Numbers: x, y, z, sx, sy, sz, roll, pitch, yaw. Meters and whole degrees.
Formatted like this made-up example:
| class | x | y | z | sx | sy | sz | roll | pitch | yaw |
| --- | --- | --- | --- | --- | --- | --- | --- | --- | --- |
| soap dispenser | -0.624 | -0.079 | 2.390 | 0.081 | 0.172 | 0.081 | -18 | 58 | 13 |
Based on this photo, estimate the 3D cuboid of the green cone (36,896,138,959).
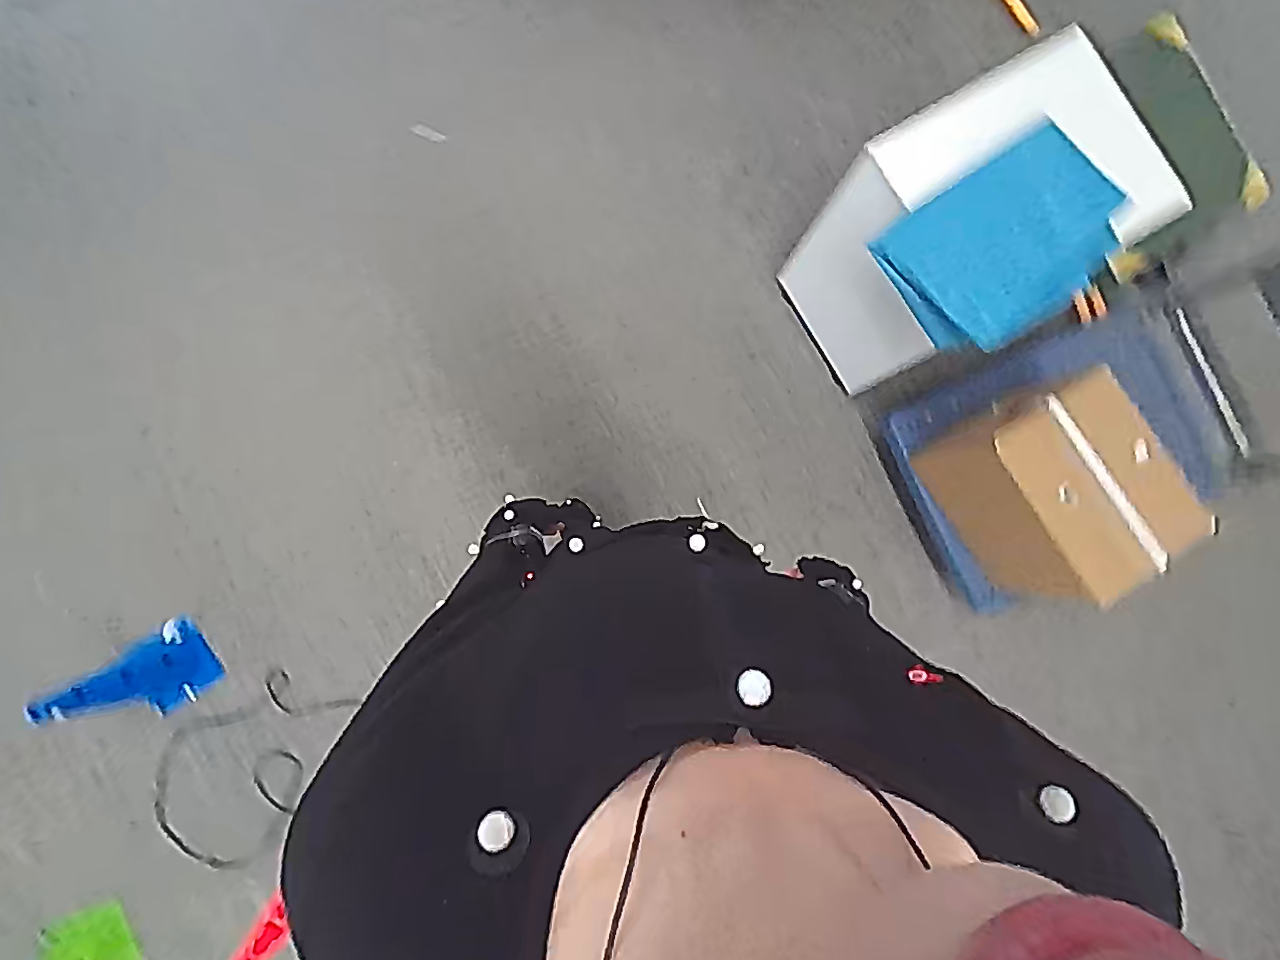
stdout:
| class | x | y | z | sx | sy | sz | roll | pitch | yaw |
| --- | --- | --- | --- | --- | --- | --- | --- | --- | --- |
| green cone | -1.382 | 1.172 | 1.194 | 0.202 | 0.368 | 0.200 | -23 | 88 | -6 |
